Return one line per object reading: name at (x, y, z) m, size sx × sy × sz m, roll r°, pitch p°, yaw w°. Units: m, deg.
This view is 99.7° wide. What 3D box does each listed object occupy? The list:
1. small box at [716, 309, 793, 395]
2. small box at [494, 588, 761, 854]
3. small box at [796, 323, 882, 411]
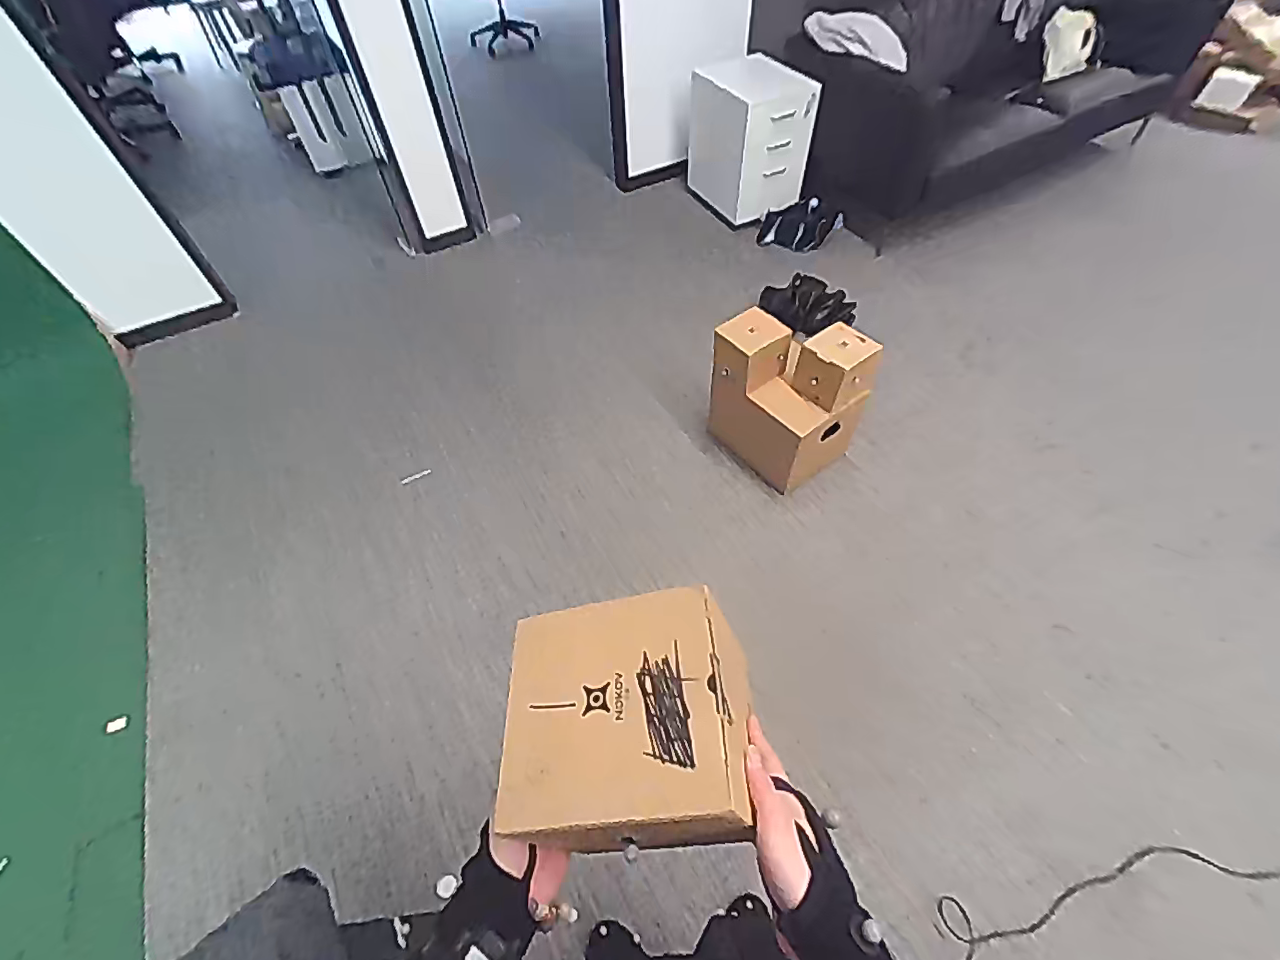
small box at (0.357, -0.406, 1.724) m, size 0.179 × 0.176 × 0.168 m, roll -34°, pitch 57°, yaw -15°
small box at (0.001, 0.219, 0.475) m, size 0.179 × 0.176 × 0.168 m, roll -15°, pitch 48°, yaw 14°
small box at (0.600, -0.342, 1.658) m, size 0.179 × 0.176 × 0.168 m, roll -34°, pitch 58°, yaw -21°
